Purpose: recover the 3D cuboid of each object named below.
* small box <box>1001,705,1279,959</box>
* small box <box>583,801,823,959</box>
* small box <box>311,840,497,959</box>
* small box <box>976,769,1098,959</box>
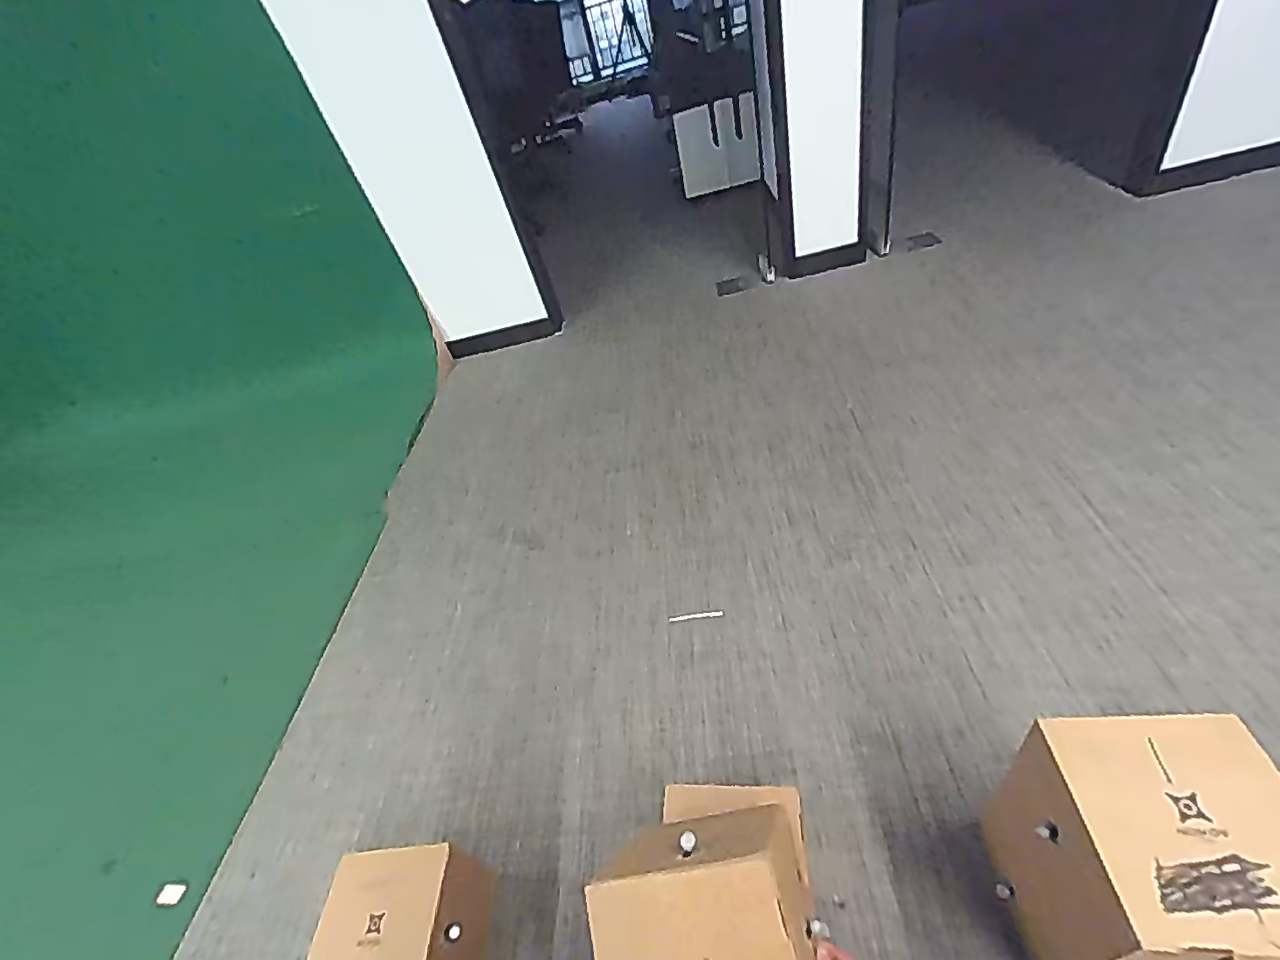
[{"bbox_3d":[0.474,0.336,0.508,0.168,0.176,0.179,-8,41,13],"label":"small box"},{"bbox_3d":[0.068,0.437,0.529,0.179,0.176,0.168,-20,68,12],"label":"small box"},{"bbox_3d":[-0.314,0.625,0.743,0.168,0.176,0.179,-11,41,8],"label":"small box"},{"bbox_3d":[0.516,0.450,0.619,0.168,0.176,0.179,-8,43,12],"label":"small box"}]
